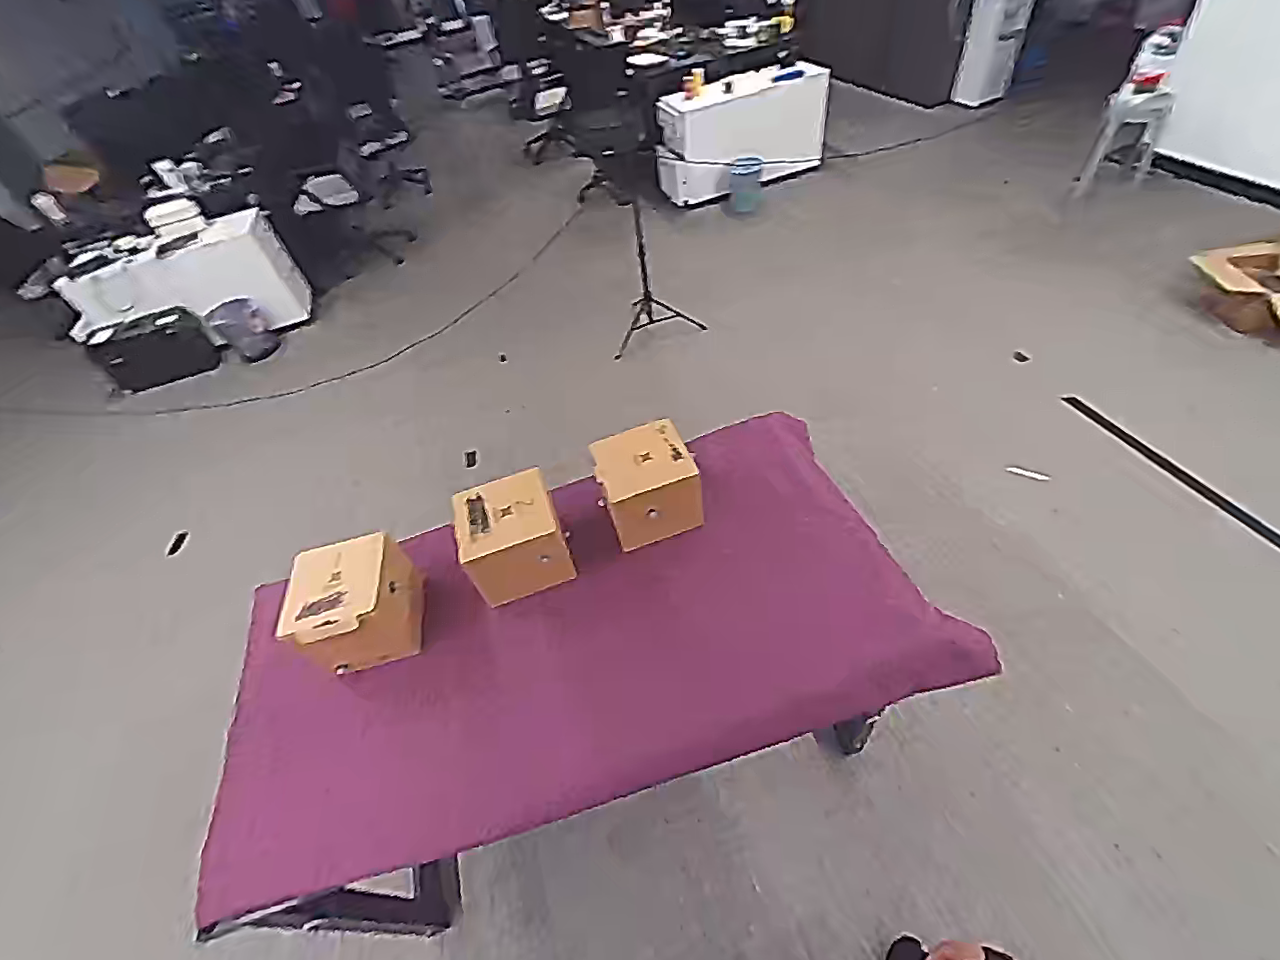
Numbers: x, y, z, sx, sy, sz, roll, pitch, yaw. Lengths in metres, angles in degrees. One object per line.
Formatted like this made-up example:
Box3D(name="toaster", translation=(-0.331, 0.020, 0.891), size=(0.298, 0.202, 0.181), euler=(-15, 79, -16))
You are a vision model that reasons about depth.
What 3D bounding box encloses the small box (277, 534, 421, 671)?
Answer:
Box3D(name="small box", translation=(-0.517, 0.232, 0.992), size=(0.168, 0.176, 0.179), euler=(-15, 48, -3))
